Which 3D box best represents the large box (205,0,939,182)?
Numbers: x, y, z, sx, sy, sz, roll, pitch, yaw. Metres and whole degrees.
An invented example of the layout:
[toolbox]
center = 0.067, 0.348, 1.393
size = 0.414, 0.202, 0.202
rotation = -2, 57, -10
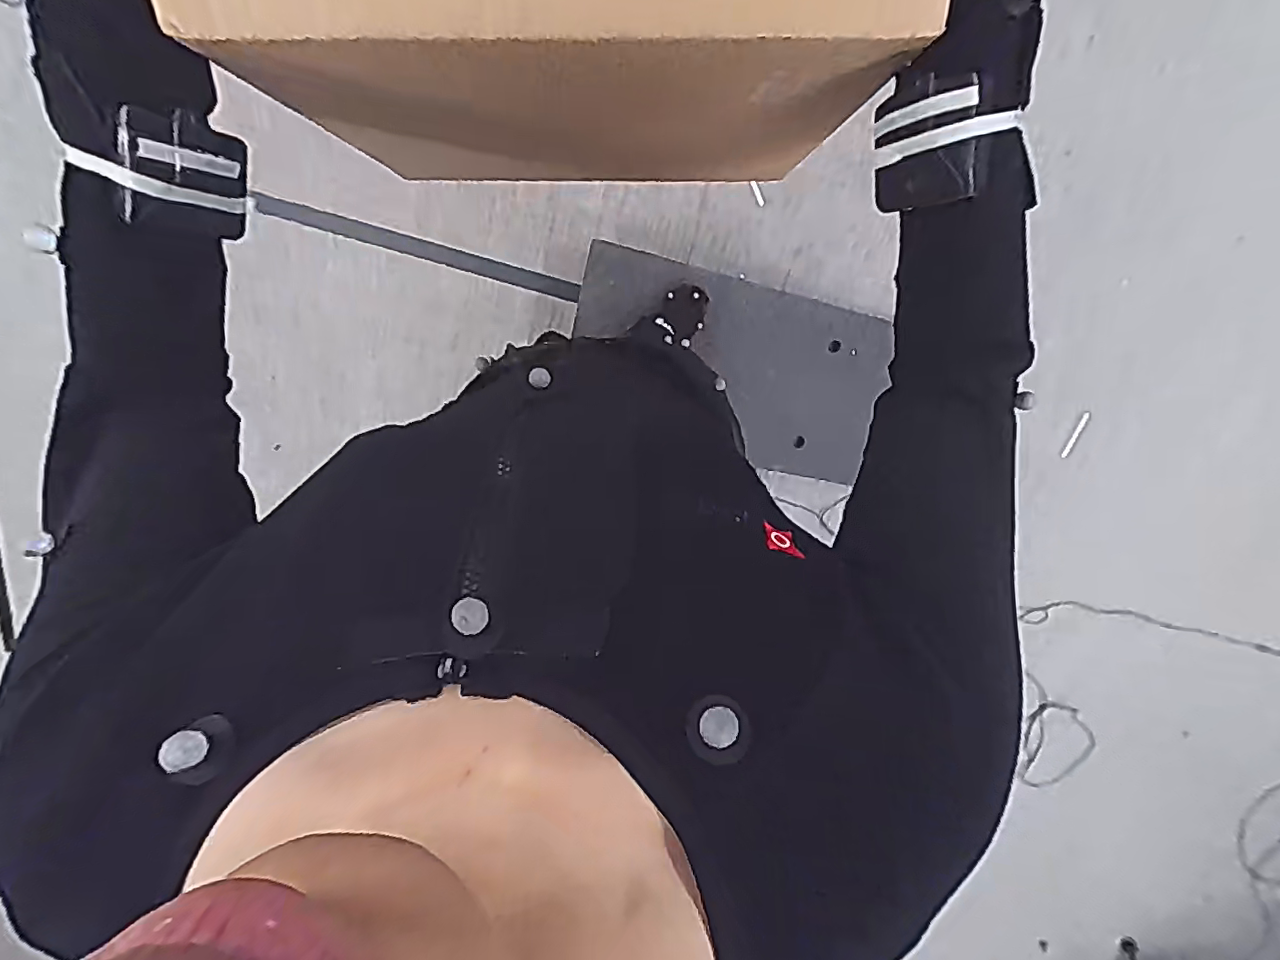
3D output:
[large box]
center = -0.041, -0.430, 0.397
size = 0.408, 0.320, 0.320
rotation = -1, 107, -1
